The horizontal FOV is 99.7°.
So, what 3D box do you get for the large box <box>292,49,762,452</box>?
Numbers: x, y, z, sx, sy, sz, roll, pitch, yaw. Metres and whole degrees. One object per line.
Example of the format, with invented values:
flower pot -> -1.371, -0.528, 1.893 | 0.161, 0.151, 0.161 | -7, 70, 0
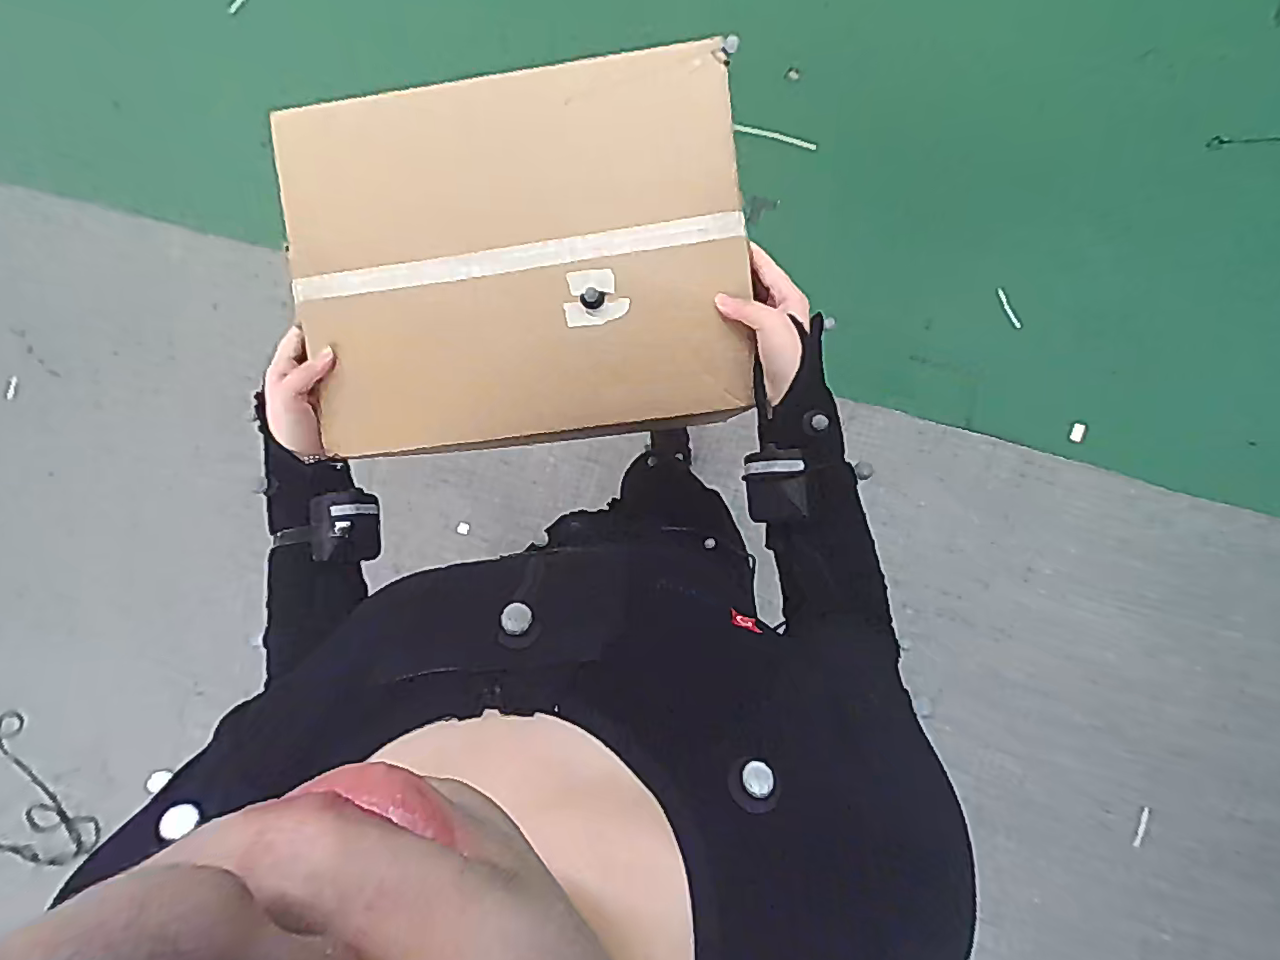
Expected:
large box -> -0.099, -0.211, 0.638 | 0.408, 0.320, 0.320 | -7, 94, 2
